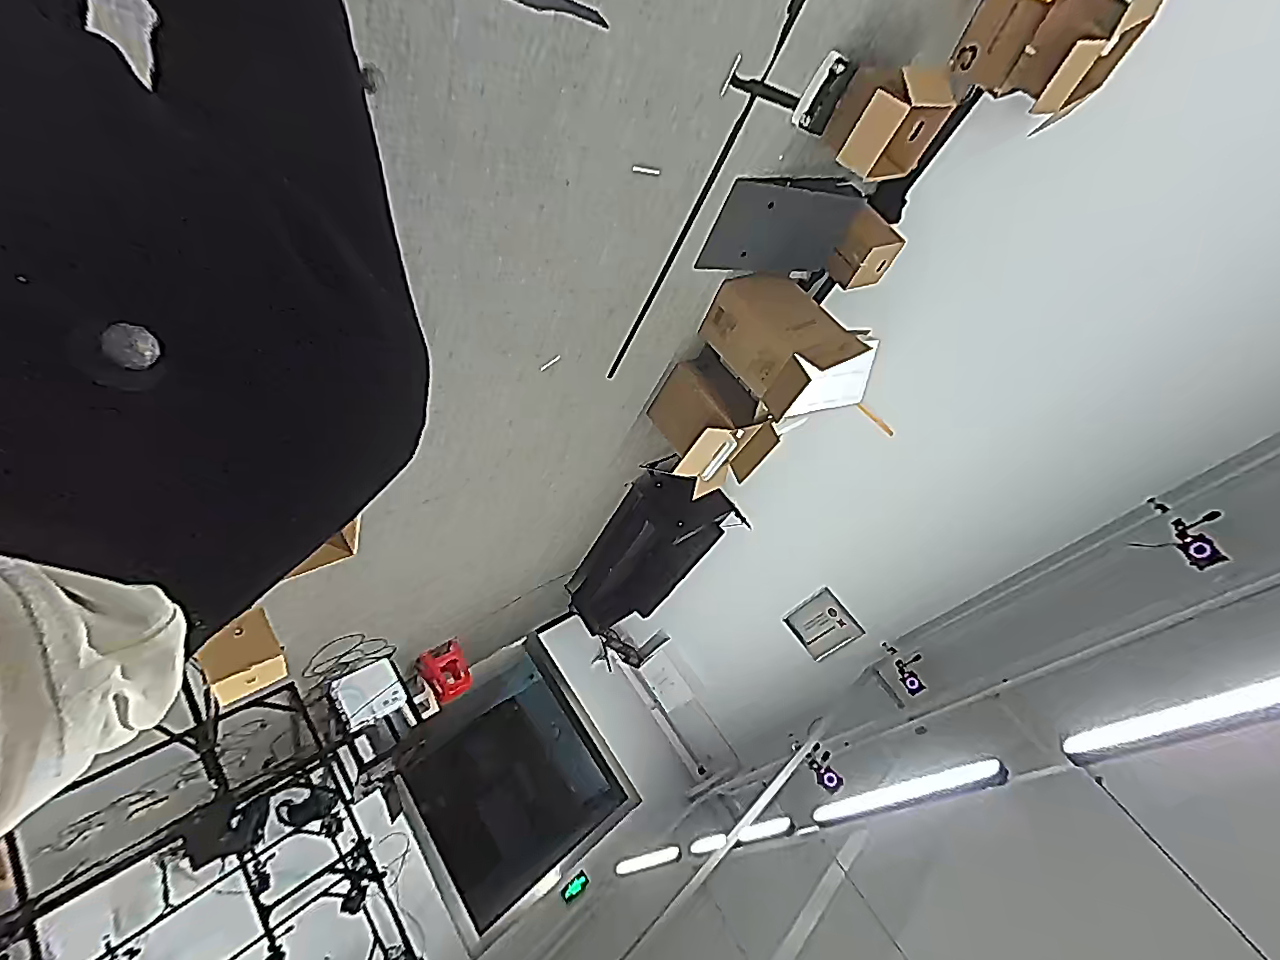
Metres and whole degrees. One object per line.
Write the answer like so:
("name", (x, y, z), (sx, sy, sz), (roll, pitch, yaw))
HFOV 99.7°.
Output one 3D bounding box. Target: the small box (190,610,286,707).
("small box", (-1.108, 0.490, 1.498), (0.168, 0.176, 0.179), (-23, 156, -40))
